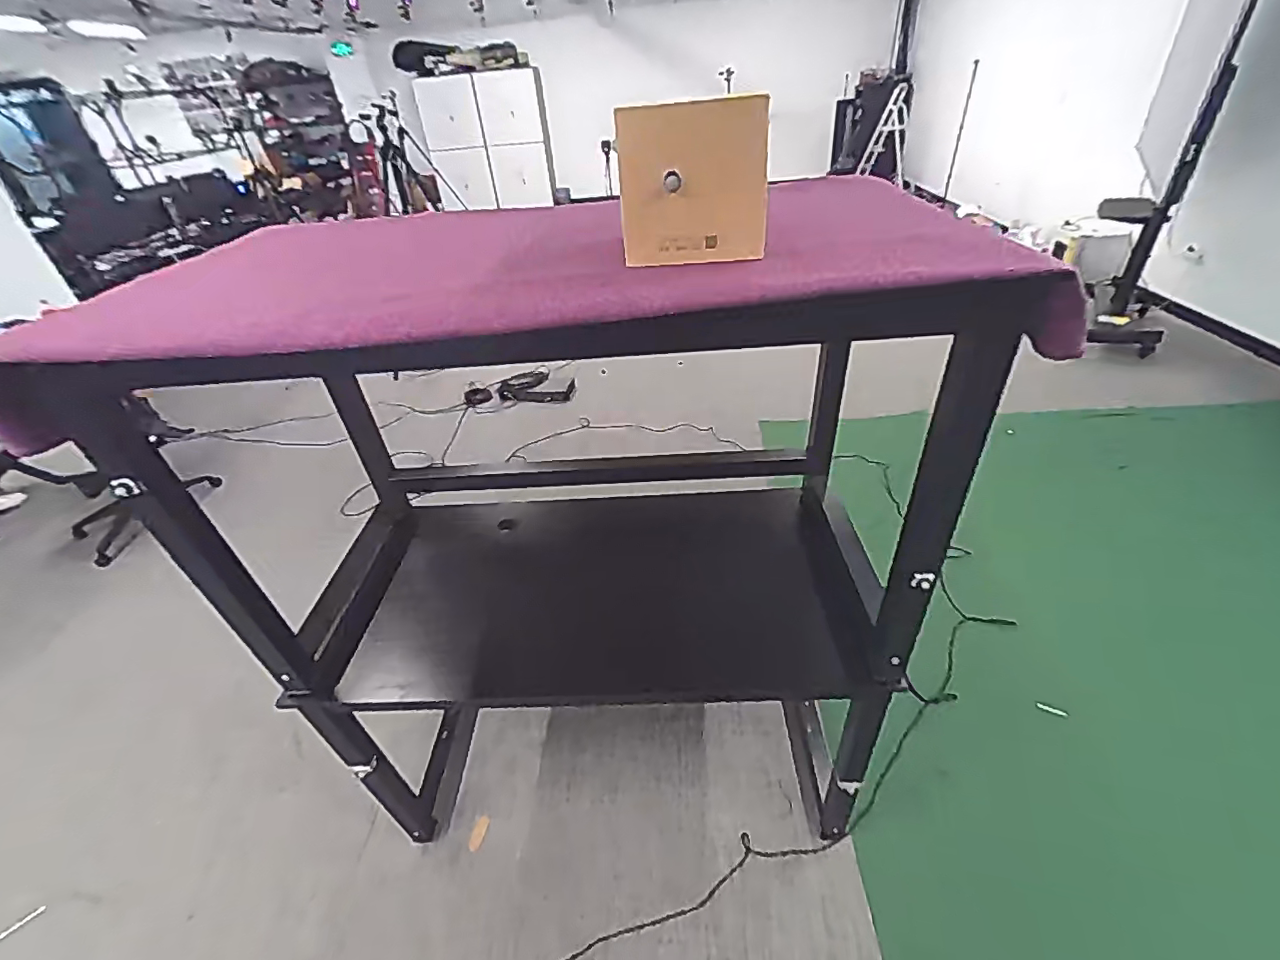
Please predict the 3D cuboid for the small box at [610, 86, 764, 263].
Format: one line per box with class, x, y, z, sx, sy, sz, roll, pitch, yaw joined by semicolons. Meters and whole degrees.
small box;0.065;-0.375;0.674;0.168;0.176;0.179;-1;35;7
